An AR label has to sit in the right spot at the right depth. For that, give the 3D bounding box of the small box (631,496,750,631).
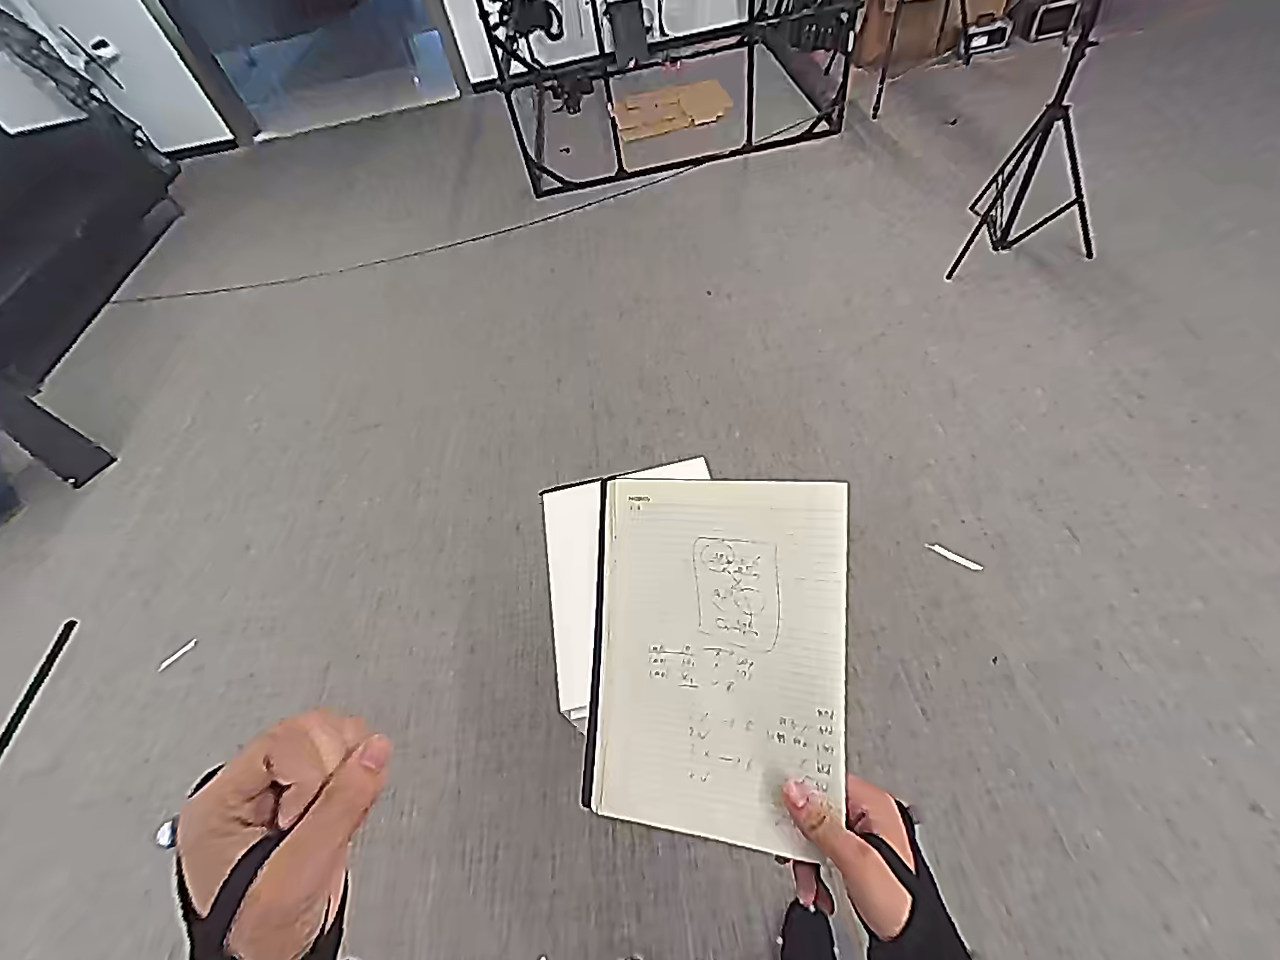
[{"bbox_3d":[0.097,0.164,1.040,0.179,0.176,0.168,-20,52,-4],"label":"small box"}]
